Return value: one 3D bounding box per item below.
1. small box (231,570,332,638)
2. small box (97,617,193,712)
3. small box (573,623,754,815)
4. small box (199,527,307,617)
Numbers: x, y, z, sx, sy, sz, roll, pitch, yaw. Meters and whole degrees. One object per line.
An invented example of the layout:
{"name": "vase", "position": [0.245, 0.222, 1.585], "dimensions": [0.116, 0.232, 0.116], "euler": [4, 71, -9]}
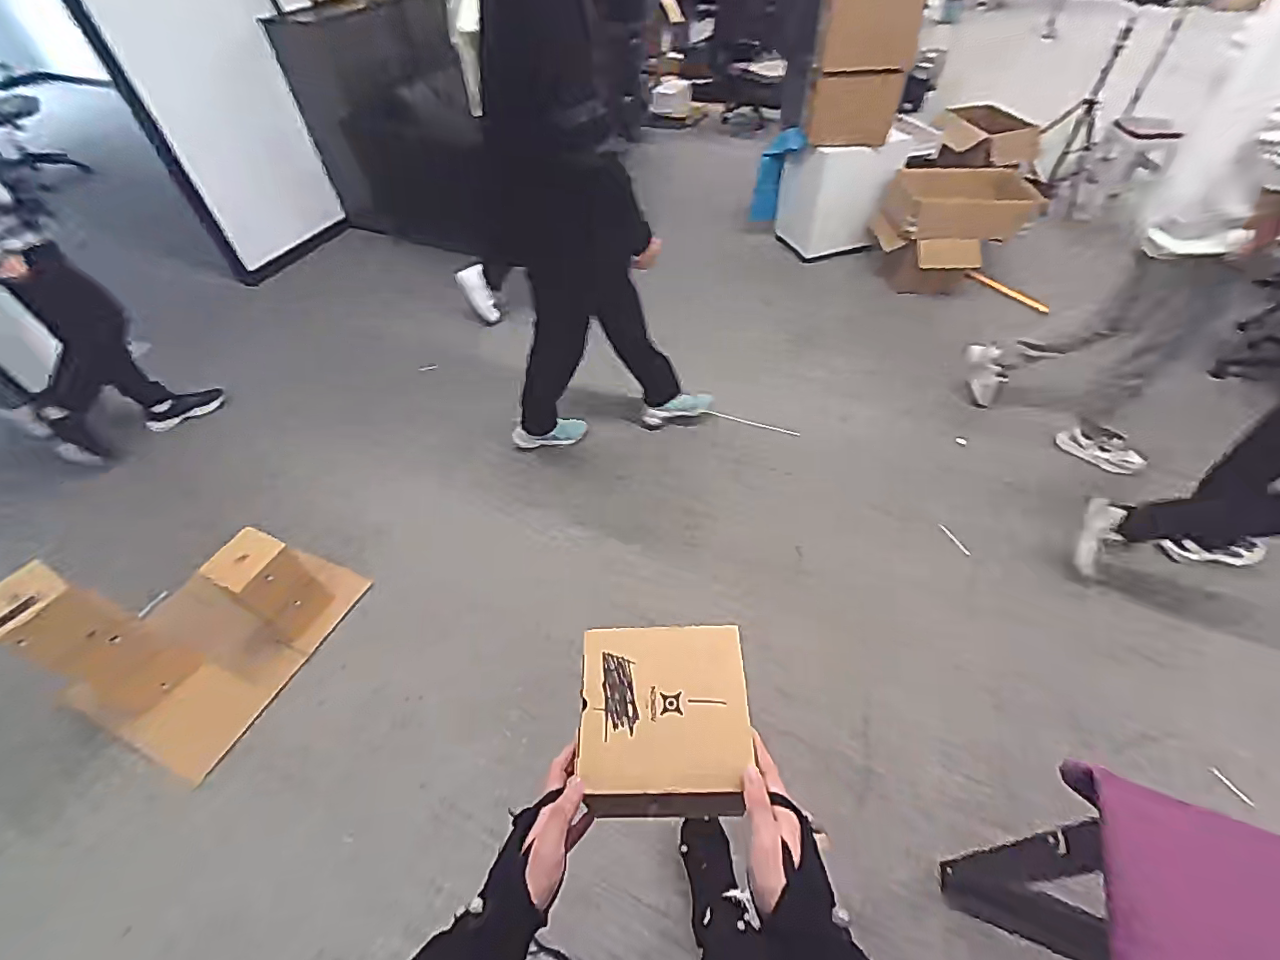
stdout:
{"name": "small box", "position": [-1.138, 0.378, 1.733], "dimensions": [0.168, 0.176, 0.179], "euler": [19, 53, 17]}
{"name": "small box", "position": [-1.480, 0.547, 1.596], "dimensions": [0.168, 0.176, 0.179], "euler": [25, 54, 22]}
{"name": "small box", "position": [0.026, 0.278, 0.621], "dimensions": [0.179, 0.176, 0.168], "euler": [-2, 51, 1]}
{"name": "small box", "position": [-1.135, 0.276, 1.609], "dimensions": [0.168, 0.176, 0.179], "euler": [19, 54, 16]}
